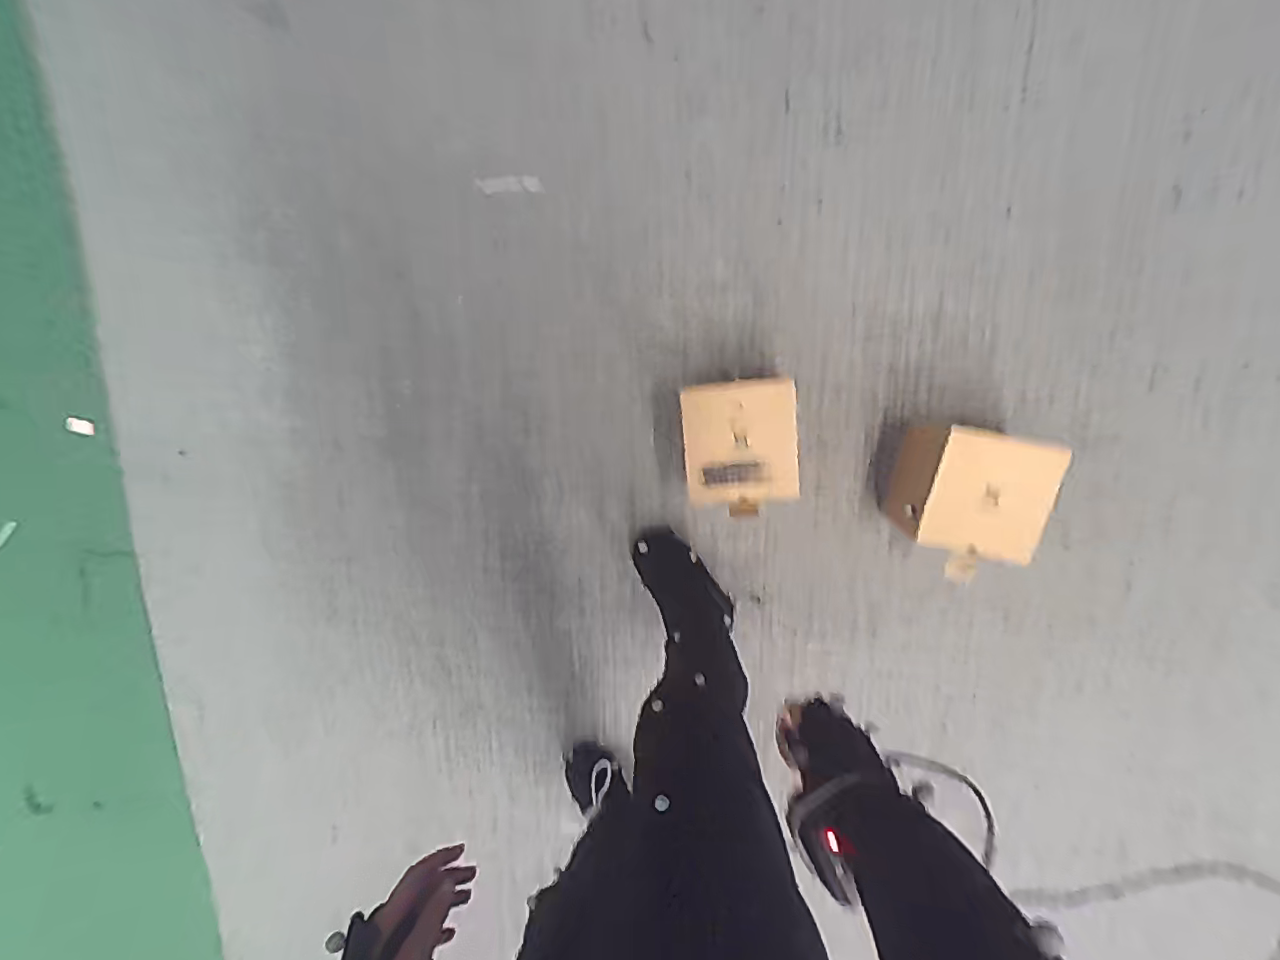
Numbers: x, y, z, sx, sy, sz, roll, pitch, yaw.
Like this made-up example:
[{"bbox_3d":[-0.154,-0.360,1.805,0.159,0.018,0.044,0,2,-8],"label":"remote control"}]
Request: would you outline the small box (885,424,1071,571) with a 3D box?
[{"bbox_3d":[0.506,0.017,0.841,0.168,0.176,0.179,12,103,4],"label":"small box"}]
